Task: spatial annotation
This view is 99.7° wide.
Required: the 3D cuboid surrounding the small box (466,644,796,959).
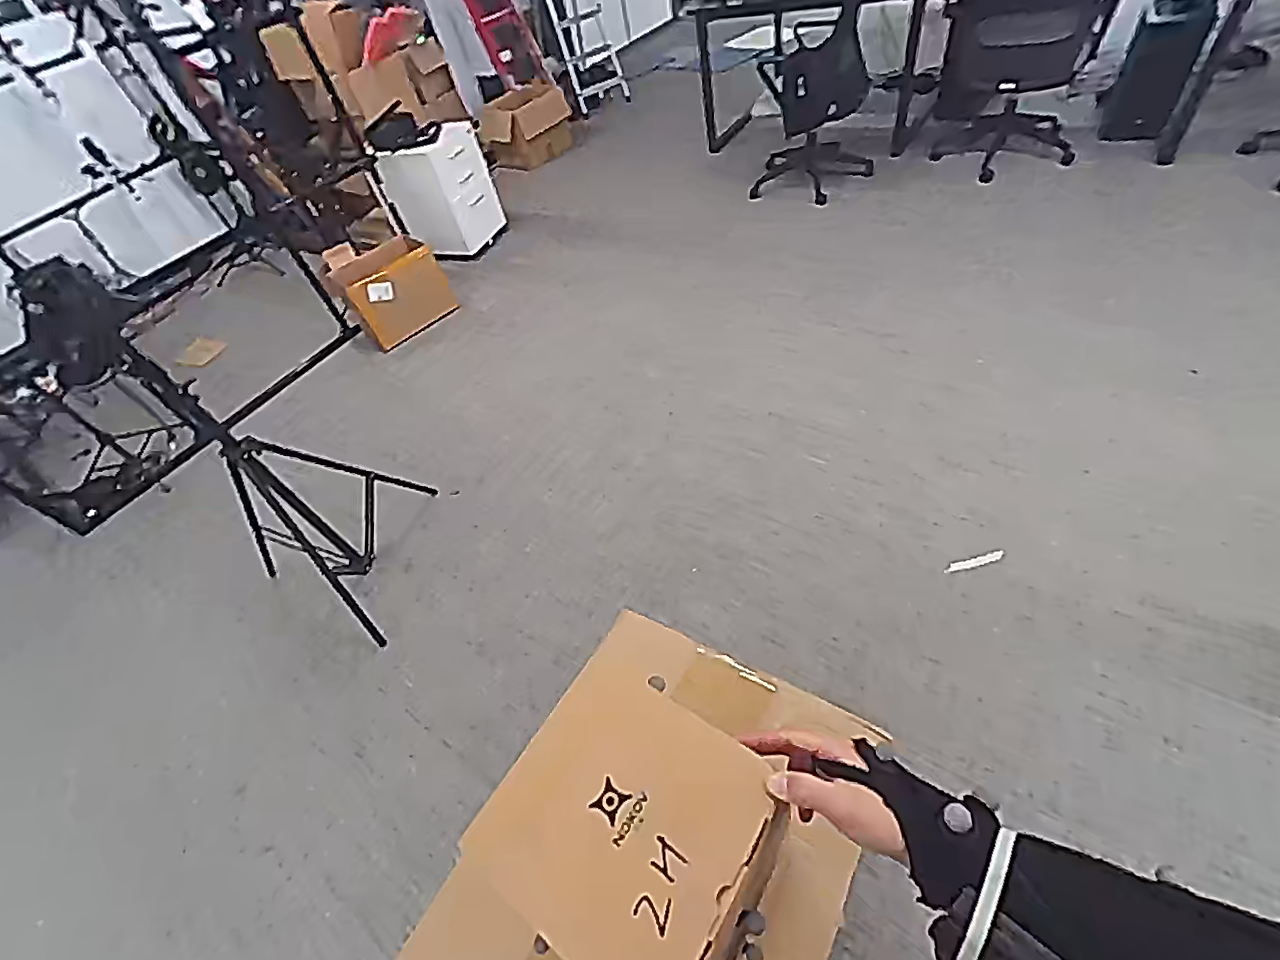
[{"bbox_3d":[0.007,0.269,0.426,0.179,0.176,0.168,22,59,31],"label":"small box"}]
